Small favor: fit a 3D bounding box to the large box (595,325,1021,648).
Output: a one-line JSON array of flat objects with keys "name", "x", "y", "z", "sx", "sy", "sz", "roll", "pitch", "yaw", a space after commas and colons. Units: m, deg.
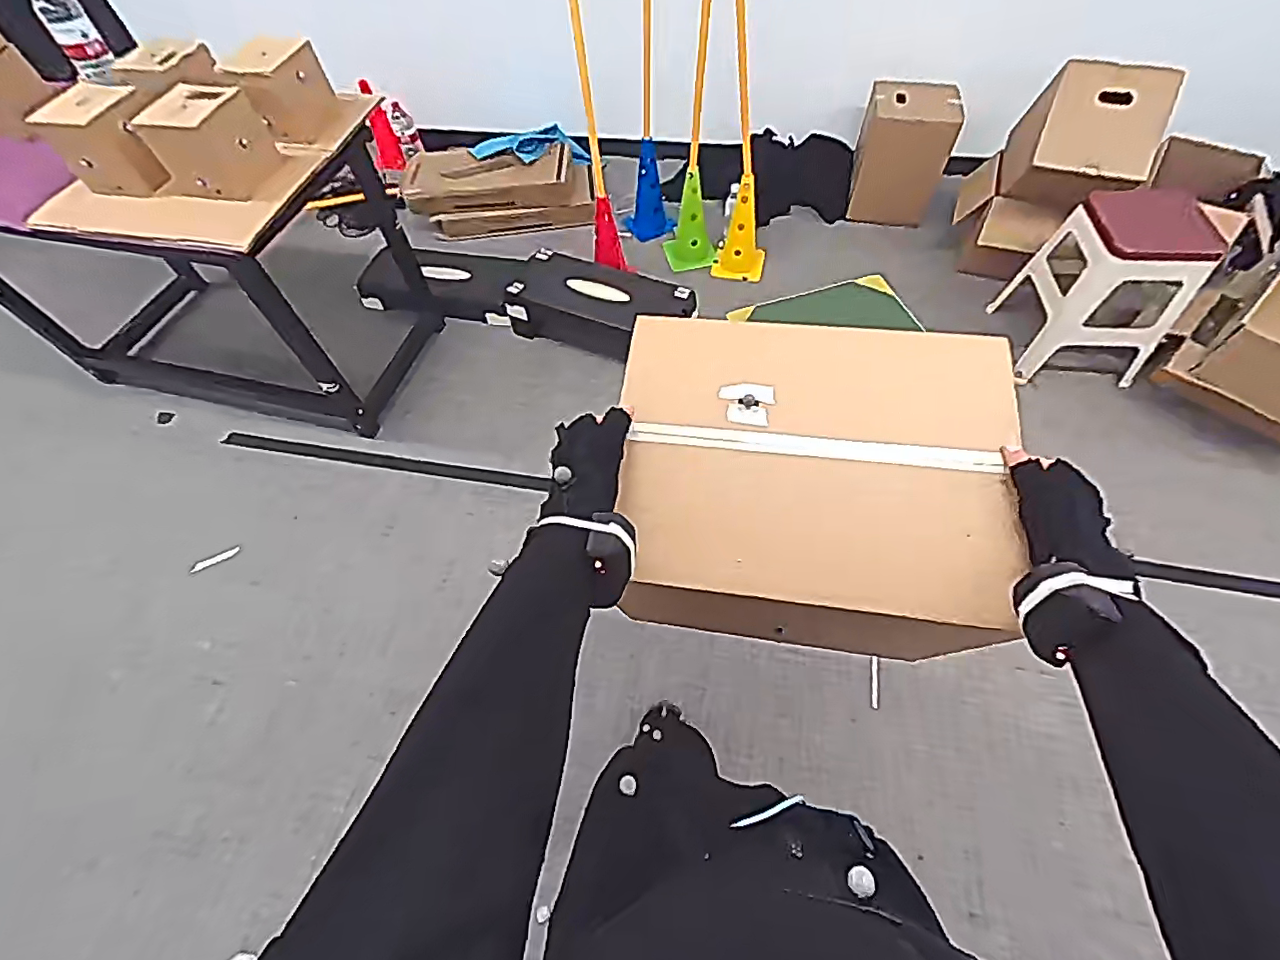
[{"name": "large box", "x": 0.190, "y": 0.026, "z": 0.706, "sx": 0.408, "sy": 0.320, "sz": 0.320, "roll": 6, "pitch": 67, "yaw": 10}]
